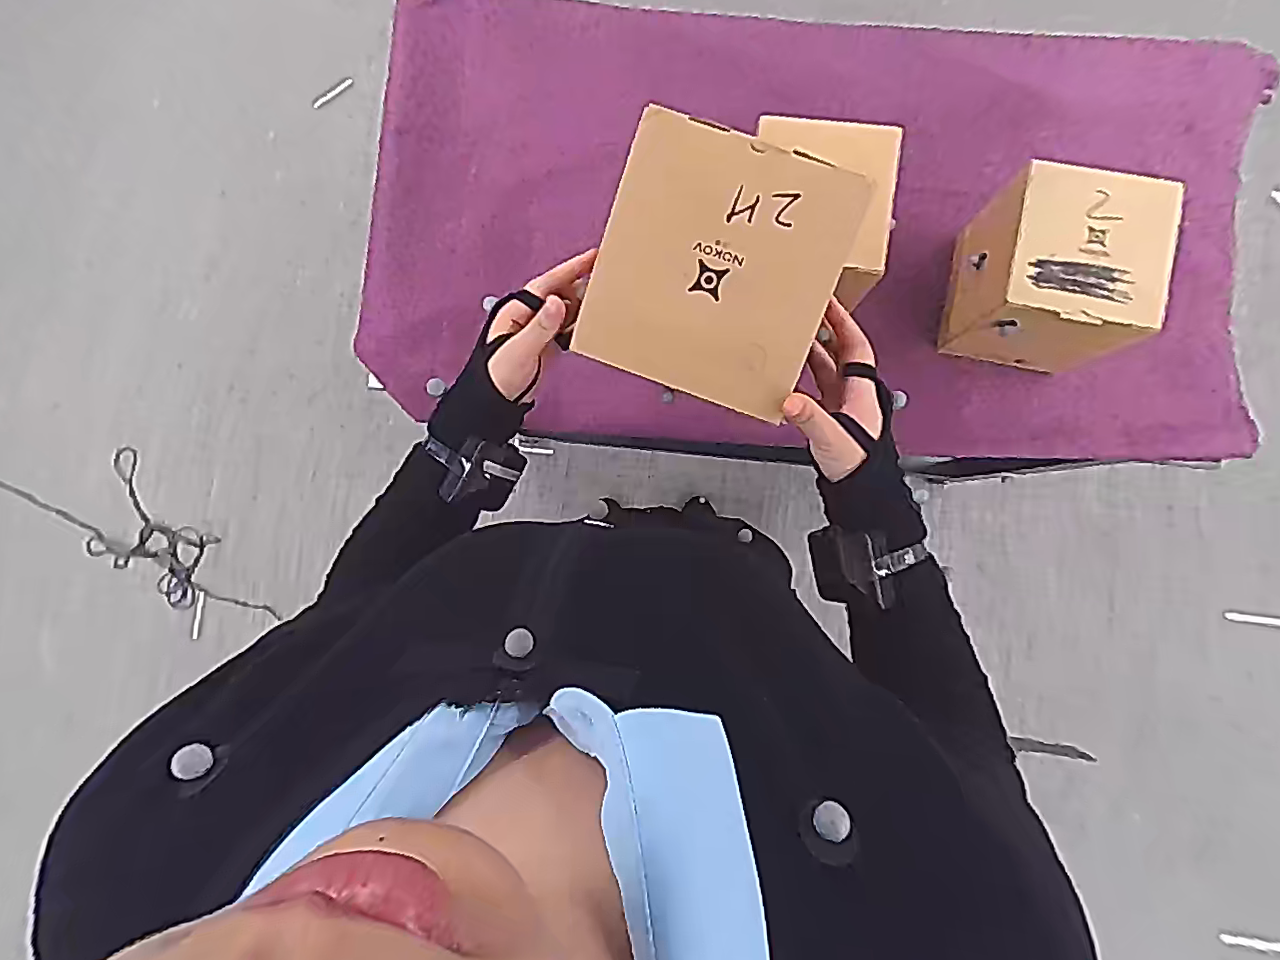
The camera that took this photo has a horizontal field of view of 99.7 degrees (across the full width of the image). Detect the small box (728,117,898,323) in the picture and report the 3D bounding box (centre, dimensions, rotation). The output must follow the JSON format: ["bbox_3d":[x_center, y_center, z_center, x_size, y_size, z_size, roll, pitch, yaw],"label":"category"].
[{"bbox_3d":[0.213,-0.327,0.708,0.168,0.176,0.179,8,87,4],"label":"small box"}]
